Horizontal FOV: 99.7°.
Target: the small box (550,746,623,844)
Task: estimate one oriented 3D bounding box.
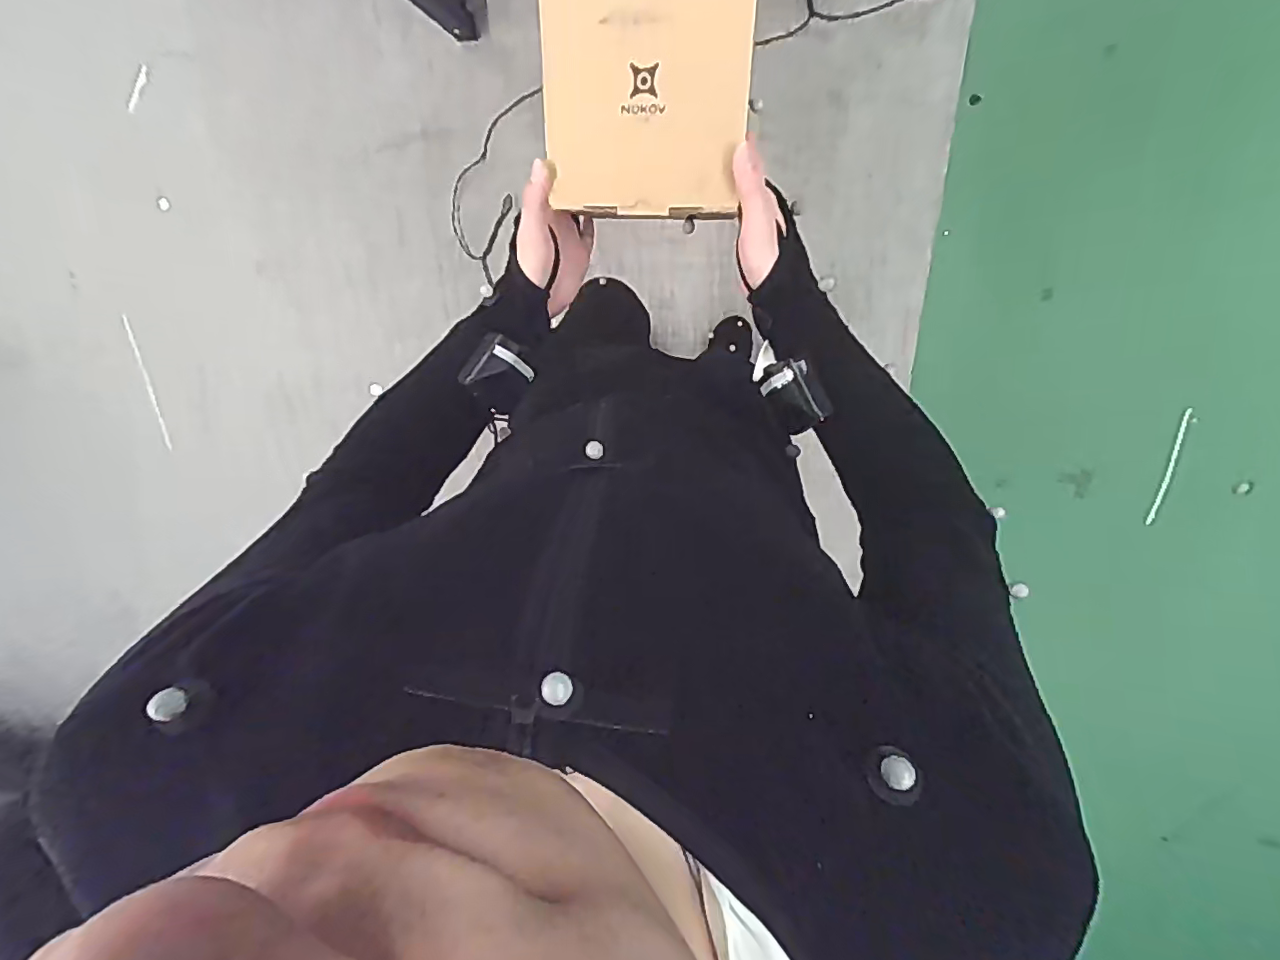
[{"bbox_3d":[-0.146,0.883,1.508,0.168,0.176,0.179,7,113,9],"label":"small box"}]
